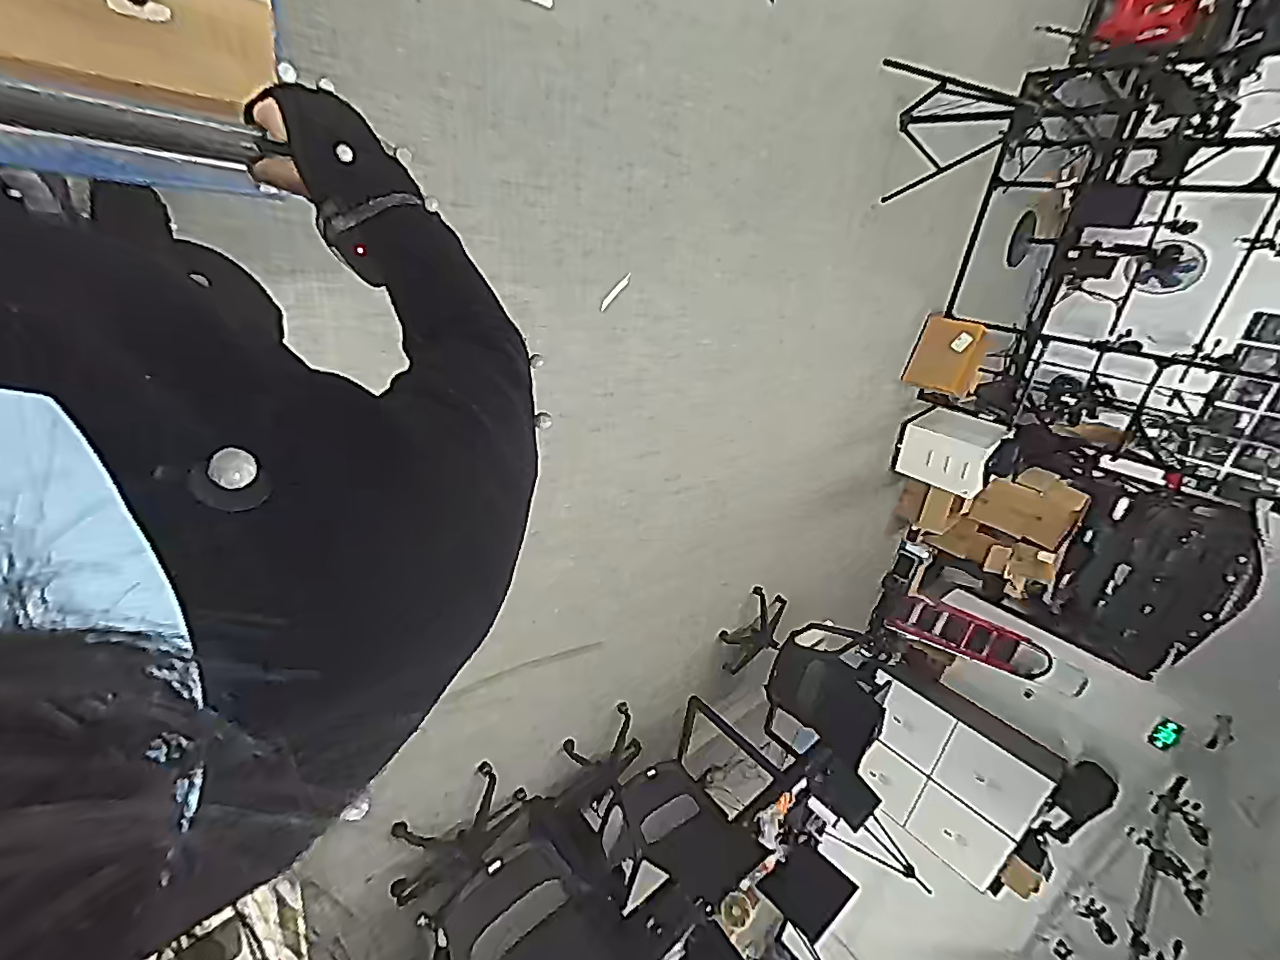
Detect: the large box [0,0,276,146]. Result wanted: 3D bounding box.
[{"bbox_3d":[-0.742,-0.638,0.670,0.408,0.320,0.320,-14,121,-42],"label":"large box"}]
